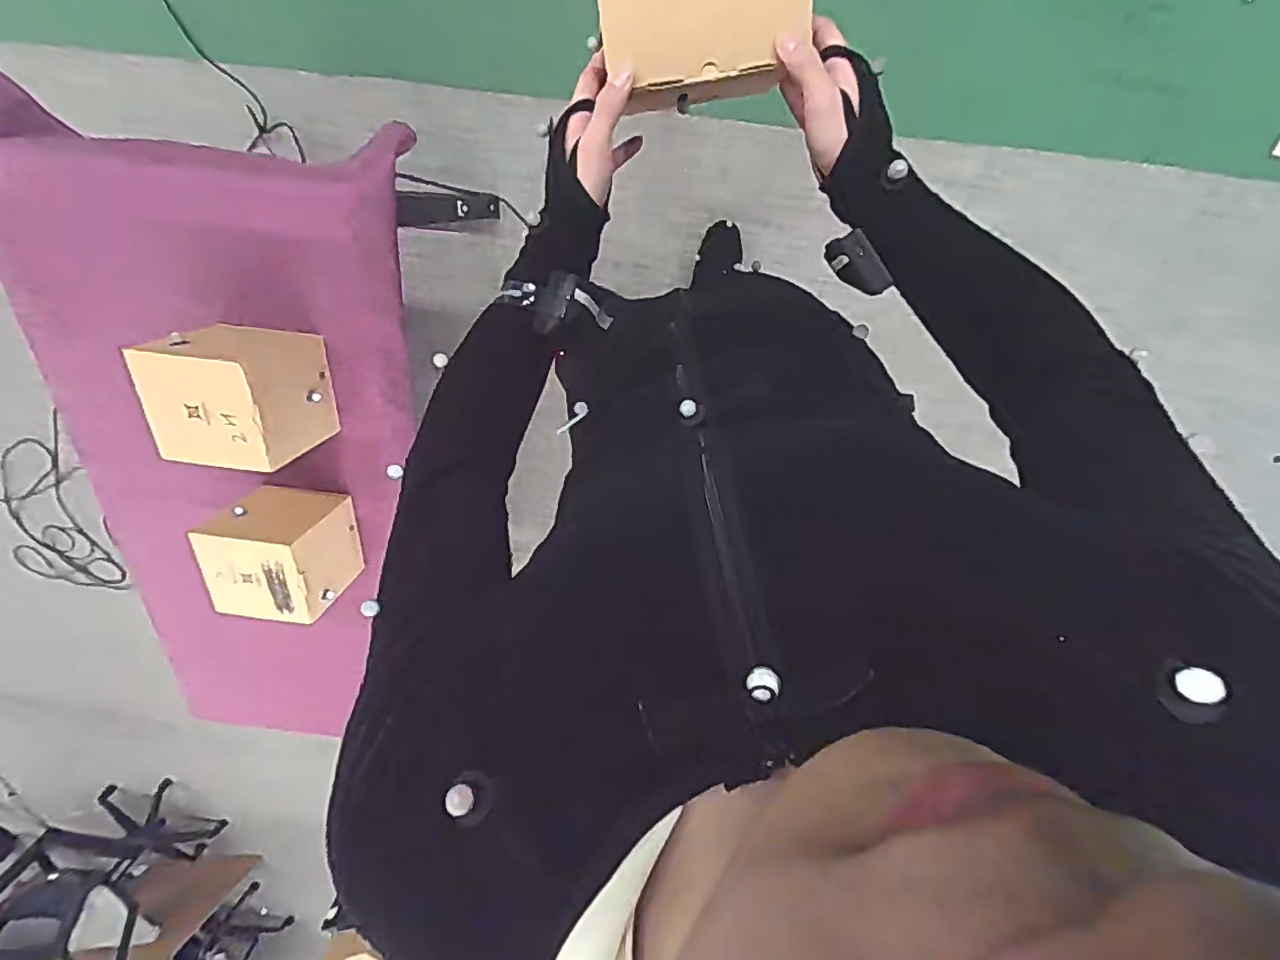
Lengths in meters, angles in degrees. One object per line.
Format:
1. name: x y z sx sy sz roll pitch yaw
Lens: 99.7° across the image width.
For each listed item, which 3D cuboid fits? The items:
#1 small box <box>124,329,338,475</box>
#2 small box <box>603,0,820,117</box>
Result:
1. small box: -0.601 -0.126 0.821 0.179 0.176 0.168 7 118 3
2. small box: 0.049 -0.436 0.468 0.168 0.176 0.179 -8 121 4
